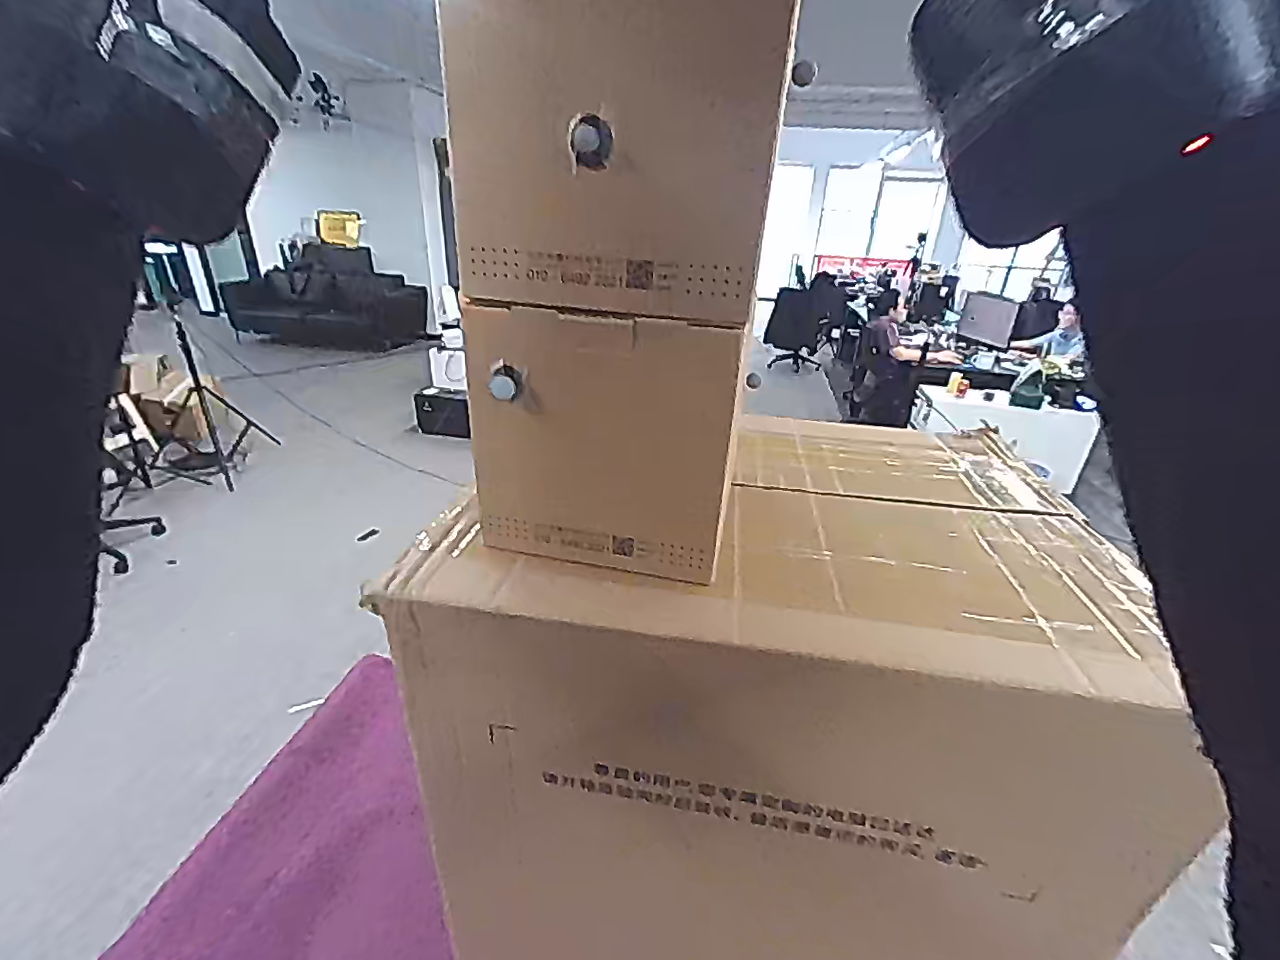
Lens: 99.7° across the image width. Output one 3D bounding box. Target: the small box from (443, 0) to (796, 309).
[{"bbox_3d":[0.001,-0.206,0.335,0.168,0.176,0.179,8,26,8],"label":"small box"}]
